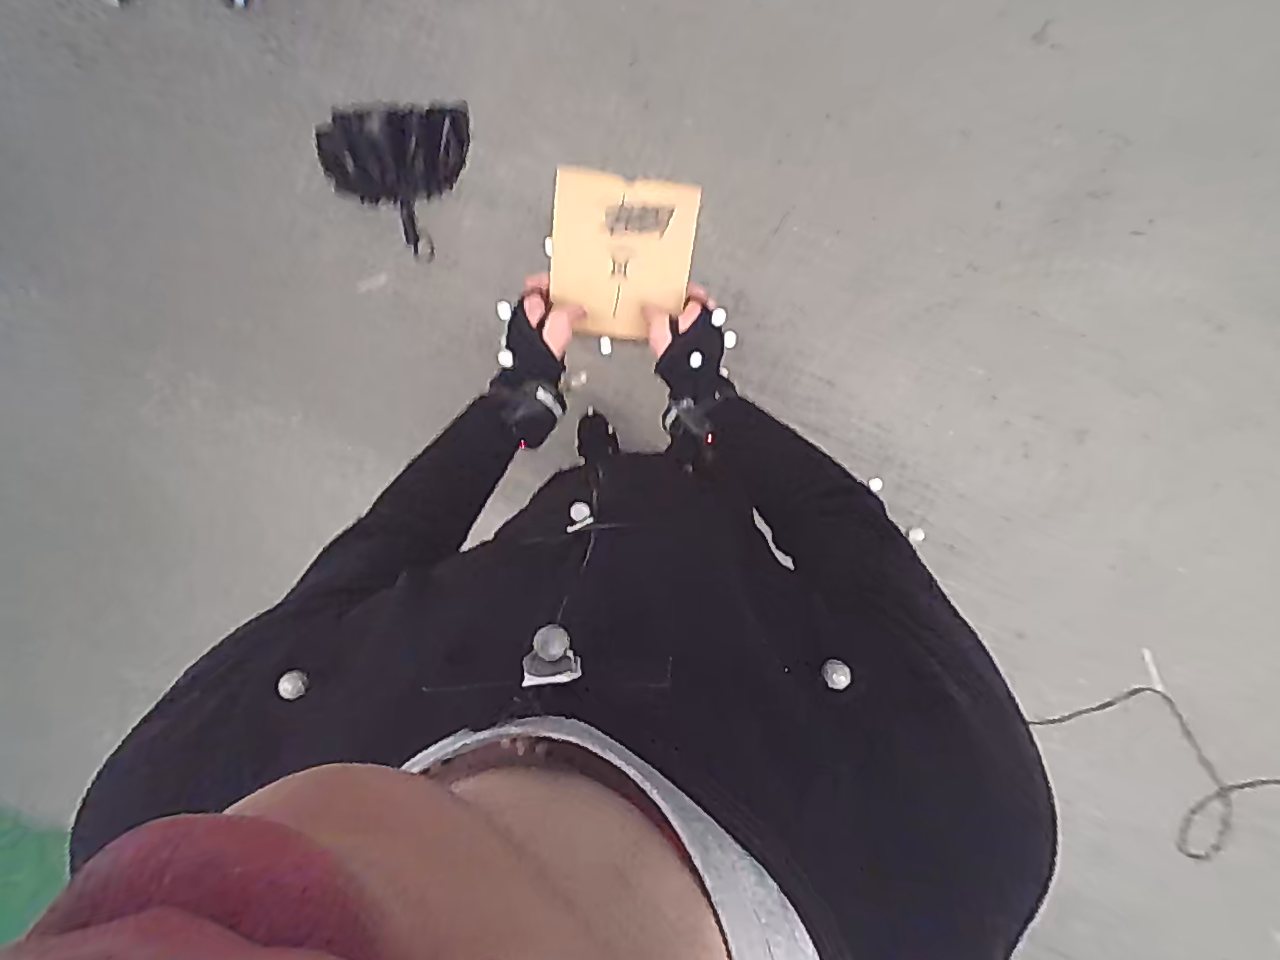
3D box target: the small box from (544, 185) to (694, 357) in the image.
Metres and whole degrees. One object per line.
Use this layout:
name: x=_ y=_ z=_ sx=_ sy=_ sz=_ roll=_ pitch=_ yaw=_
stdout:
small box: x=-0.035 y=-0.264 z=0.718 sx=0.168 sy=0.176 sz=0.179 roll=5 pitch=105 yaw=-7
